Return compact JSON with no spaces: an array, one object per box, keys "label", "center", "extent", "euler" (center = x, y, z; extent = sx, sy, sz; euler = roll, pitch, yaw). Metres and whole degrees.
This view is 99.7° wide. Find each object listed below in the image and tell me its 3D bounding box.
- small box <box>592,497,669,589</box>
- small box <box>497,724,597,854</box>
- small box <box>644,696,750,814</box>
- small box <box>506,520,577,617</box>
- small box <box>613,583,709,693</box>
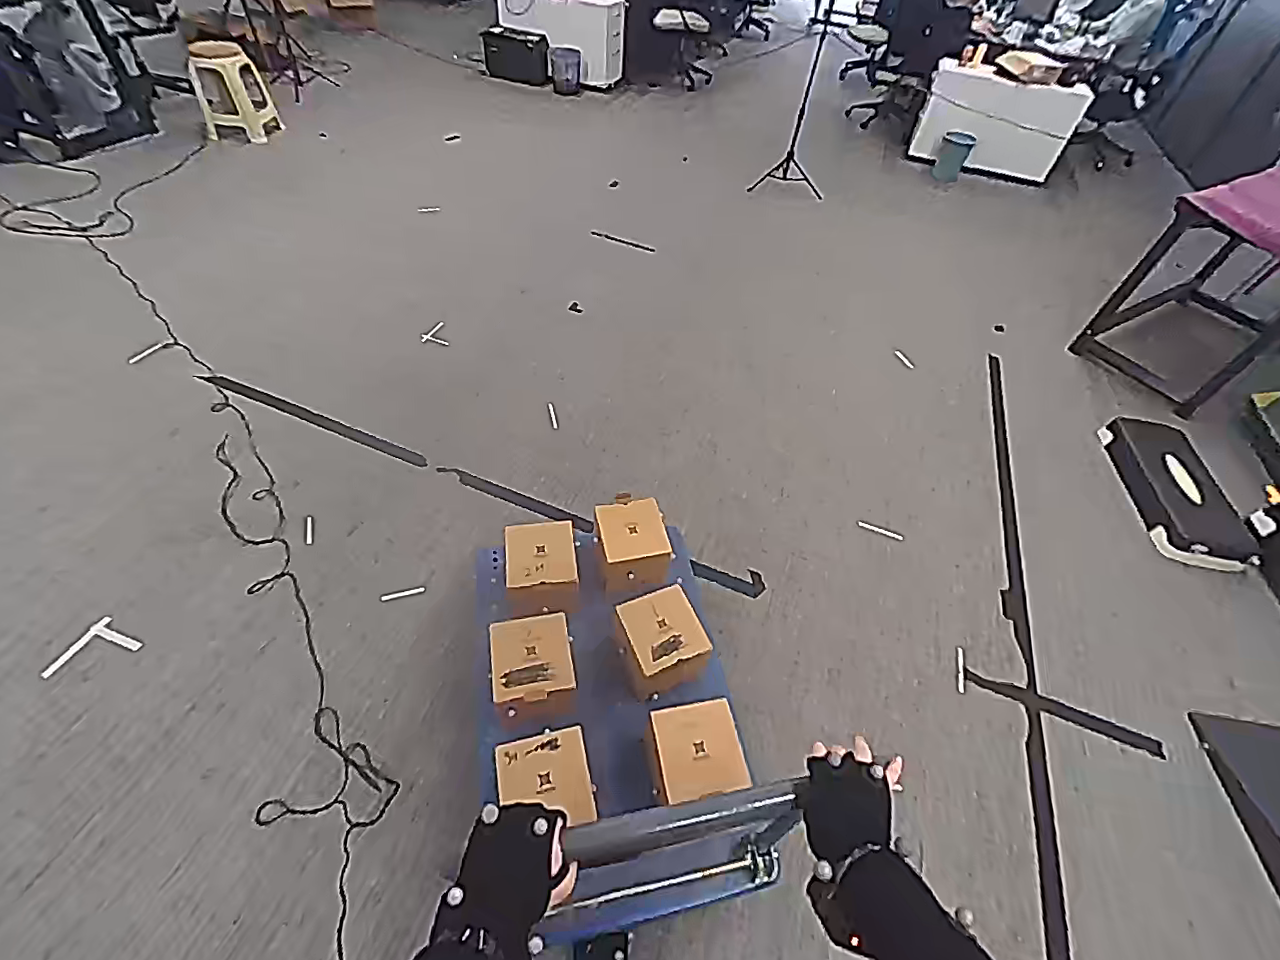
[{"label":"small box","center":[-0.030,0.173,1.437],"extent":[0.168,0.176,0.179],"euler":[-9,51,-13]},{"label":"small box","center":[-0.180,0.606,1.053],"extent":[0.168,0.176,0.179],"euler":[-8,51,-14]},{"label":"small box","center":[0.109,0.572,1.116],"extent":[0.168,0.176,0.179],"euler":[-5,50,-11]},{"label":"small box","center":[-0.249,0.225,1.367],"extent":[0.168,0.176,0.179],"euler":[-5,51,-10]},{"label":"small box","center":[0.042,0.378,1.272],"extent":[0.168,0.176,0.179],"euler":[-16,53,-19]}]
